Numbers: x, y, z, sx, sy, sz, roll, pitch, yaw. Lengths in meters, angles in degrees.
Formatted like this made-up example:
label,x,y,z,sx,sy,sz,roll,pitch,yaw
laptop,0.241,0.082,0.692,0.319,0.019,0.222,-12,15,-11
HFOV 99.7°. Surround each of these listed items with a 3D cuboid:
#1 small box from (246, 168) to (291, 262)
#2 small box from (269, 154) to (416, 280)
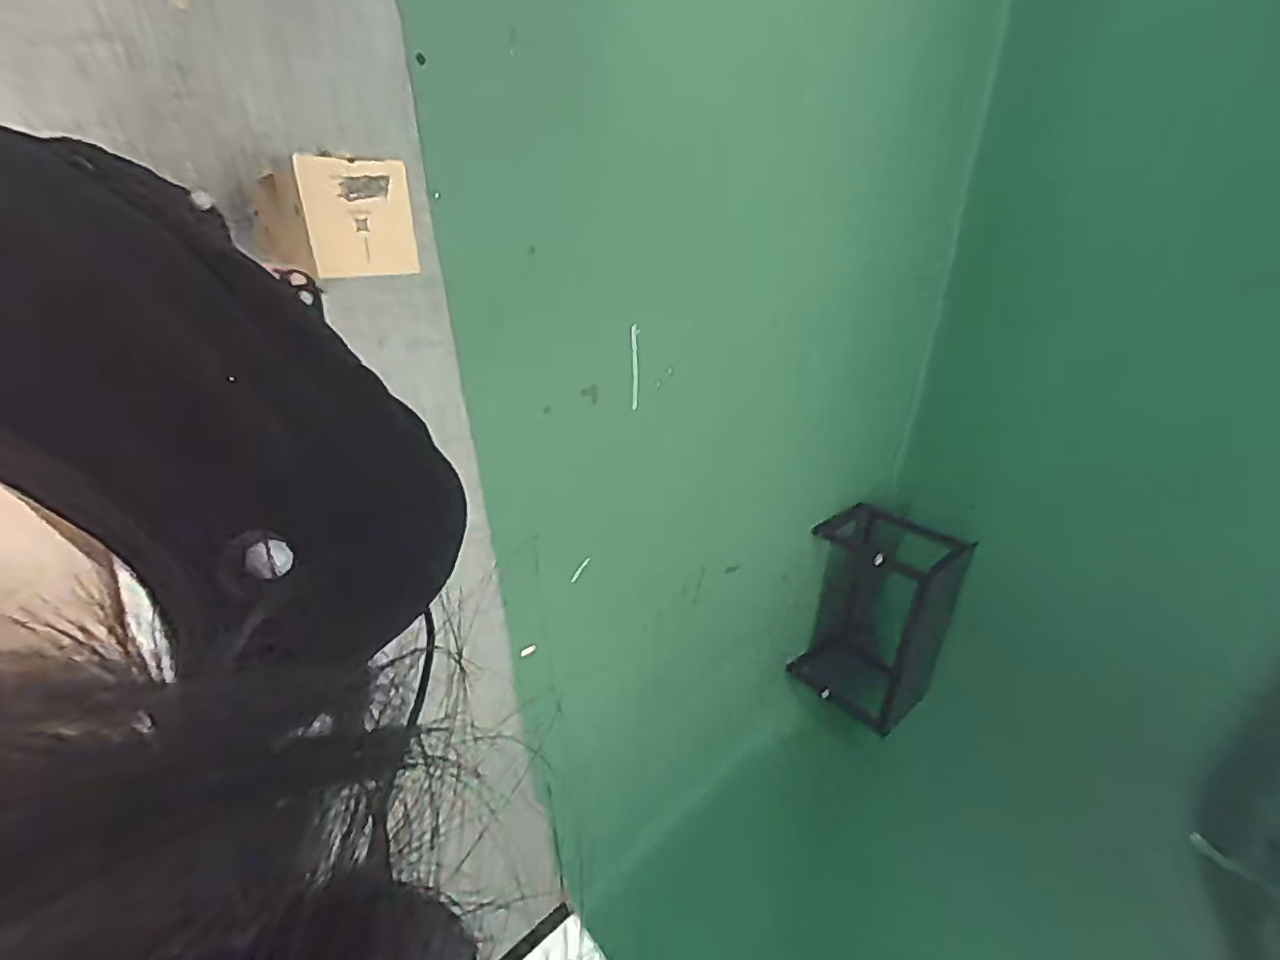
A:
label,x,y,z,sx,sy,sz,roll,pitch,yaw
small box,-0.722,-0.549,1.153,0.179,0.176,0.168,-10,117,-40
small box,-0.508,-0.445,0.925,0.168,0.176,0.179,-20,124,-37
